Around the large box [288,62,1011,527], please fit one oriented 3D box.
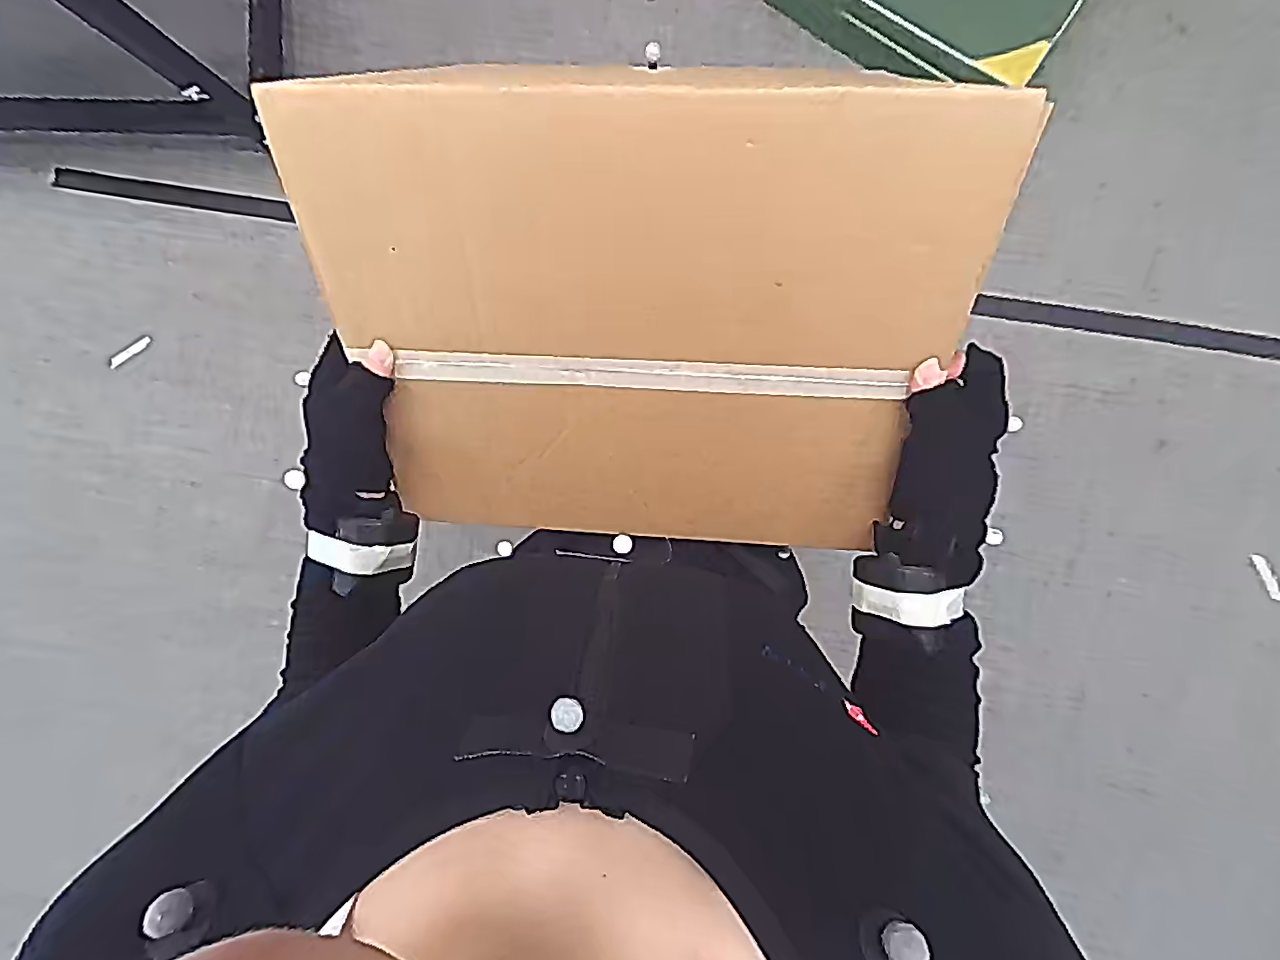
[{"bbox_3d":[0.012,-0.179,0.498,0.408,0.320,0.320,3,129,4],"label":"large box"}]
